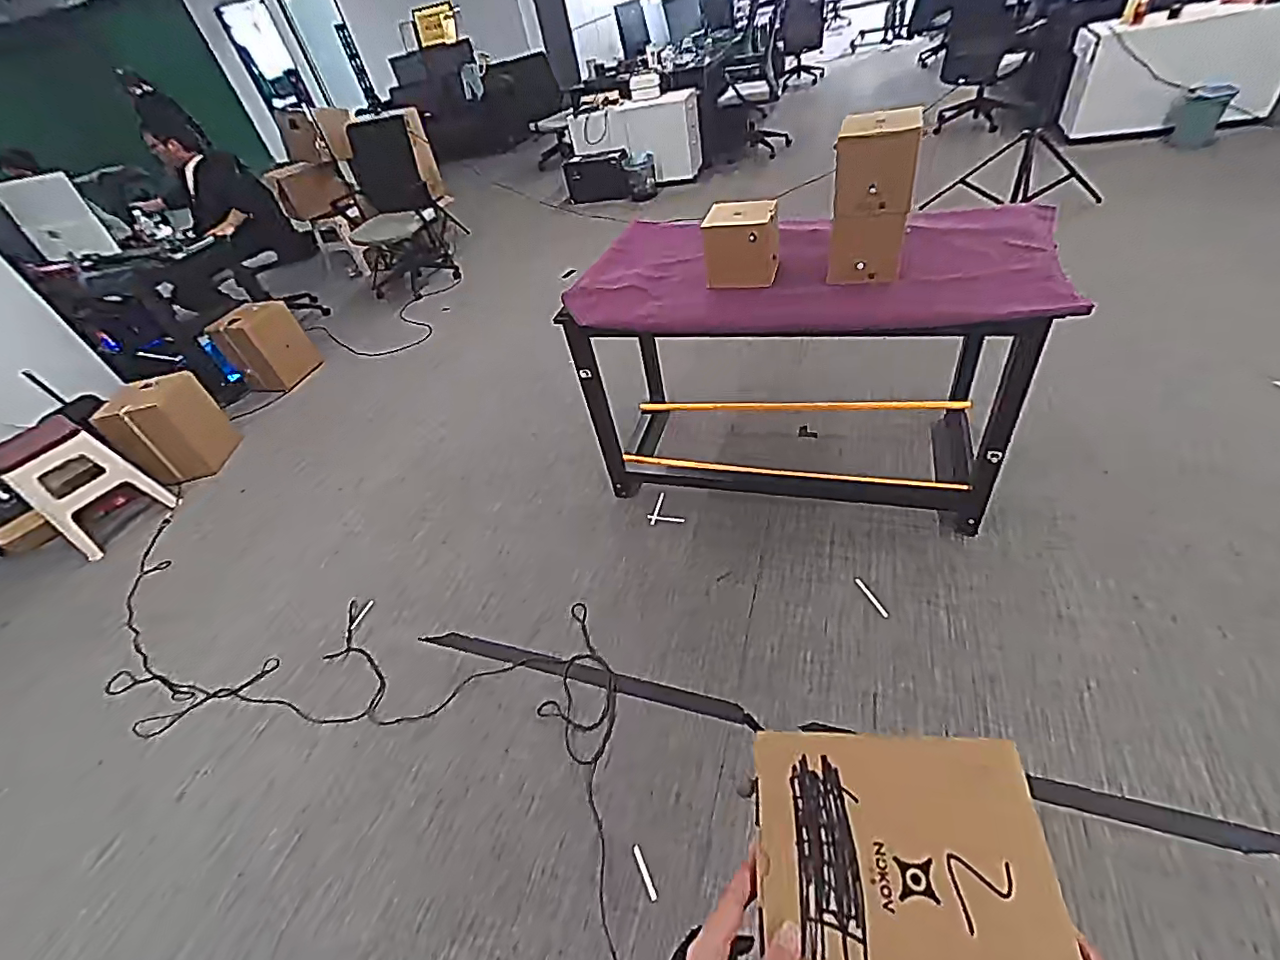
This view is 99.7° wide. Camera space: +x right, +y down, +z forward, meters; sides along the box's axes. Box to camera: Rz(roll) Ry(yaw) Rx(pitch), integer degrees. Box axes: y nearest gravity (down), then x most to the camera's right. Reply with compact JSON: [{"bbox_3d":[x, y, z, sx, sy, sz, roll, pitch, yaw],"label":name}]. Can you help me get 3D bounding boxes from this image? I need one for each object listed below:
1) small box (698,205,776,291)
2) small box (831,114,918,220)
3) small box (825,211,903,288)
[{"bbox_3d":[0.269,-0.626,1.468,0.179,0.176,0.168,6,46,20],"label":"small box"},{"bbox_3d":[0.538,-0.718,1.248,0.168,0.176,0.179,6,46,22],"label":"small box"},{"bbox_3d":[0.563,-0.600,1.361,0.168,0.176,0.179,6,47,21],"label":"small box"}]
